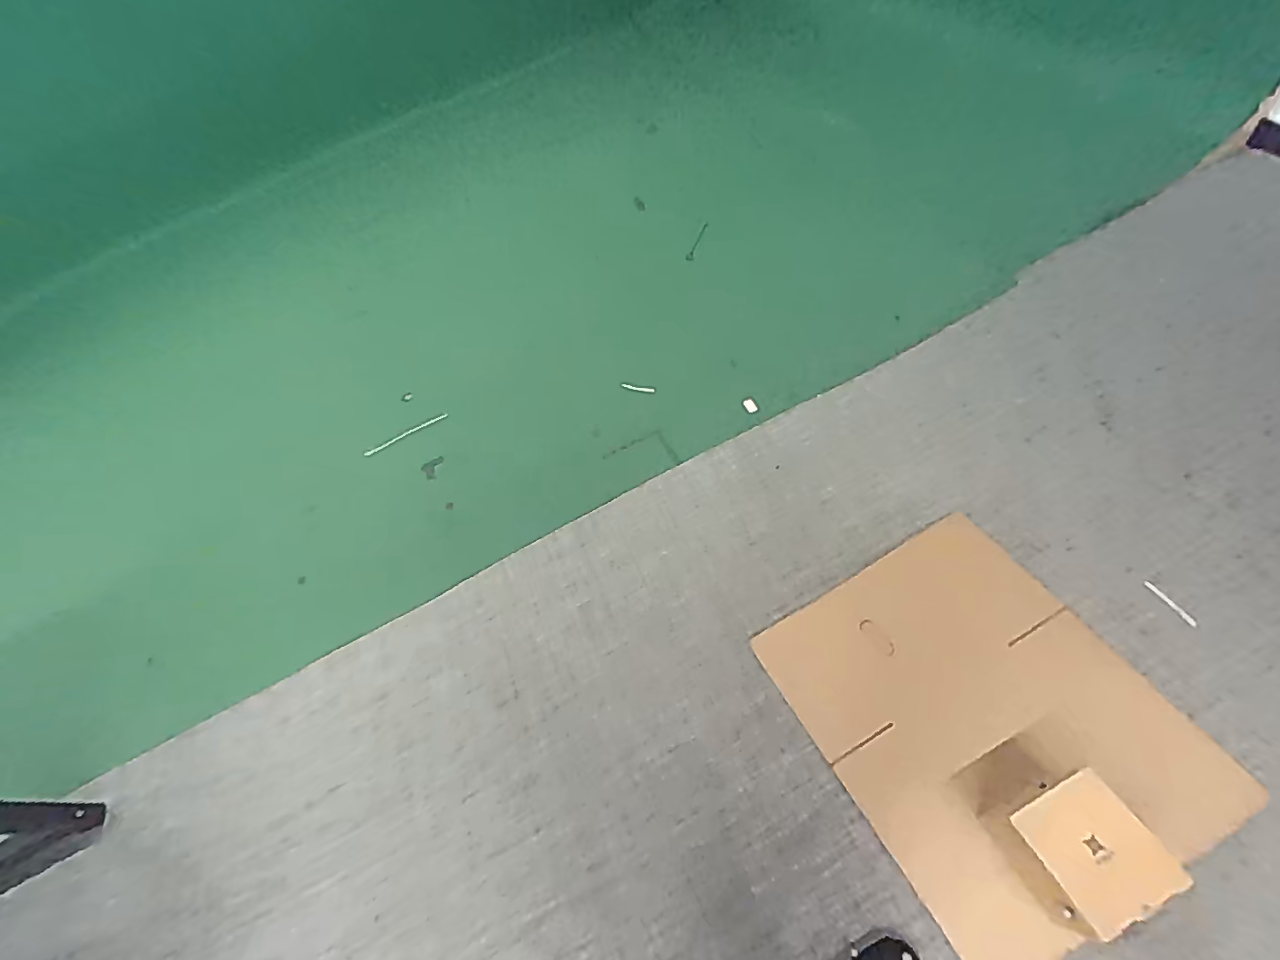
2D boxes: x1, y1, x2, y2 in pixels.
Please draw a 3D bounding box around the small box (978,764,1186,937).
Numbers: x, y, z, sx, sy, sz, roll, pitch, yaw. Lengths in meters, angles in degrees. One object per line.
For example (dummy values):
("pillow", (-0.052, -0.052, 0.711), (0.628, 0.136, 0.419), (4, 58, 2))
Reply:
("small box", (0.707, 0.603, 0.895), (0.168, 0.176, 0.179), (-29, 57, -5))
